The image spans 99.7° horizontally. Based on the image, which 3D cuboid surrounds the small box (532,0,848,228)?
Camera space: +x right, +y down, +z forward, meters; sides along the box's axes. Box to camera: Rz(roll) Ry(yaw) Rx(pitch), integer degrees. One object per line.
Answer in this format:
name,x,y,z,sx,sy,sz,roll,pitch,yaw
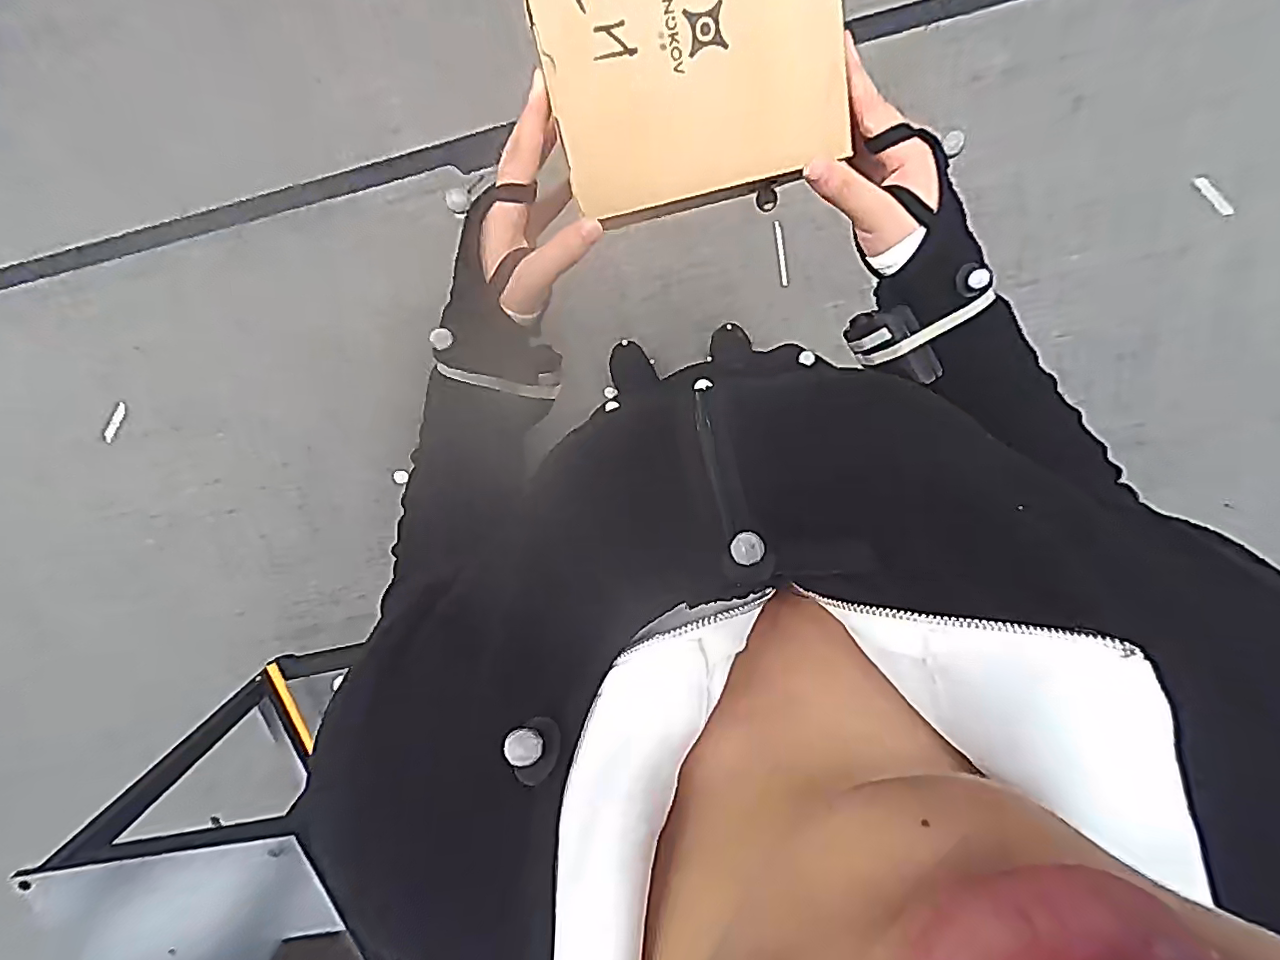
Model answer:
small box,0.027,-0.286,0.385,0.179,0.176,0.168,-12,113,2
